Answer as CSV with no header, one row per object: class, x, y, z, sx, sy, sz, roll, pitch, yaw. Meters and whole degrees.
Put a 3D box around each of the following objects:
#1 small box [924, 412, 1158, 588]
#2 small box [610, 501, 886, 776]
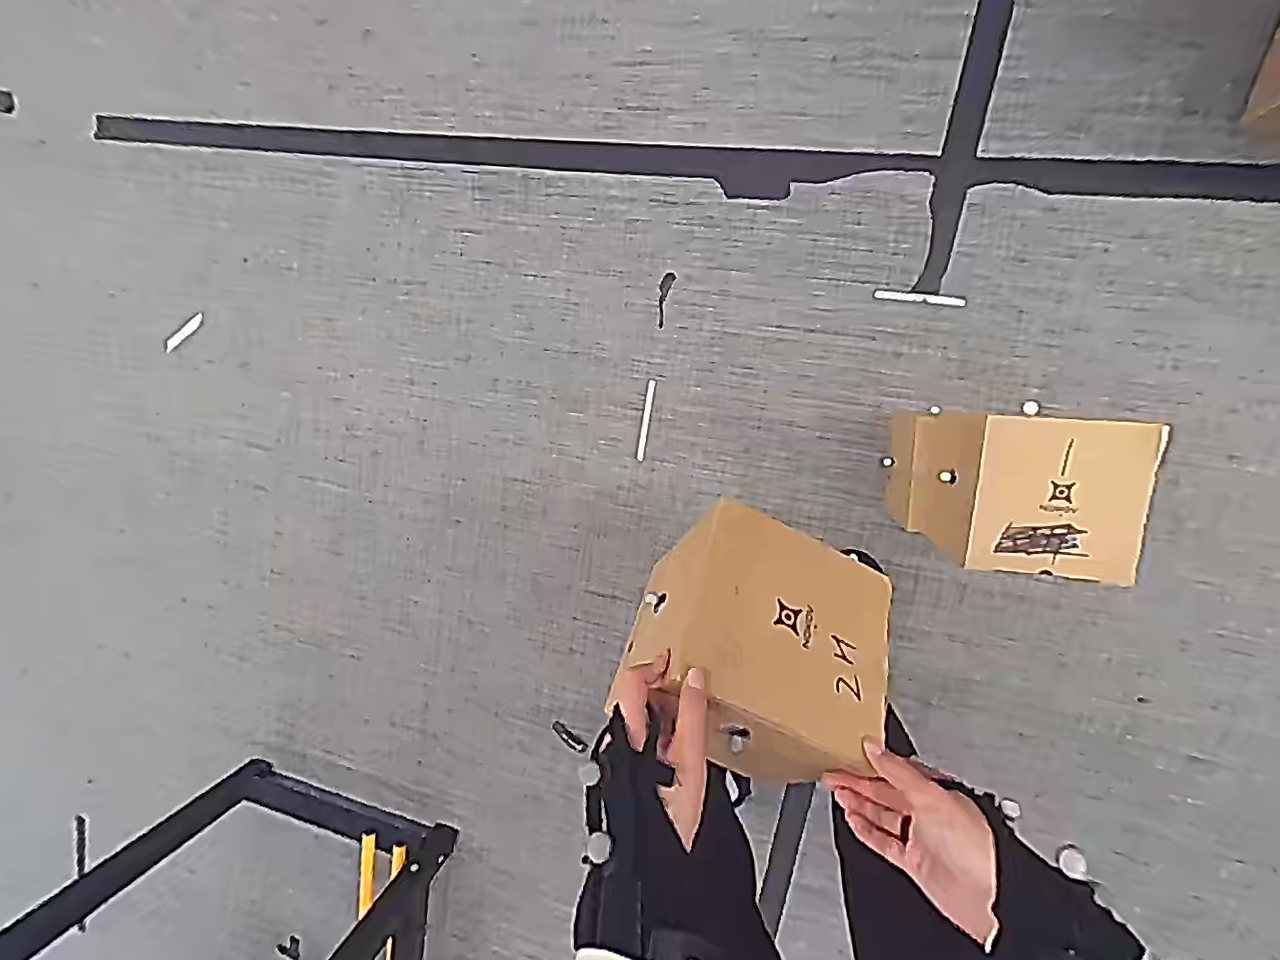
small box,0.462,0.012,0.658,0.168,0.176,0.179,6,99,12
small box,0.092,0.154,0.492,0.179,0.168,0.176,27,145,-6
